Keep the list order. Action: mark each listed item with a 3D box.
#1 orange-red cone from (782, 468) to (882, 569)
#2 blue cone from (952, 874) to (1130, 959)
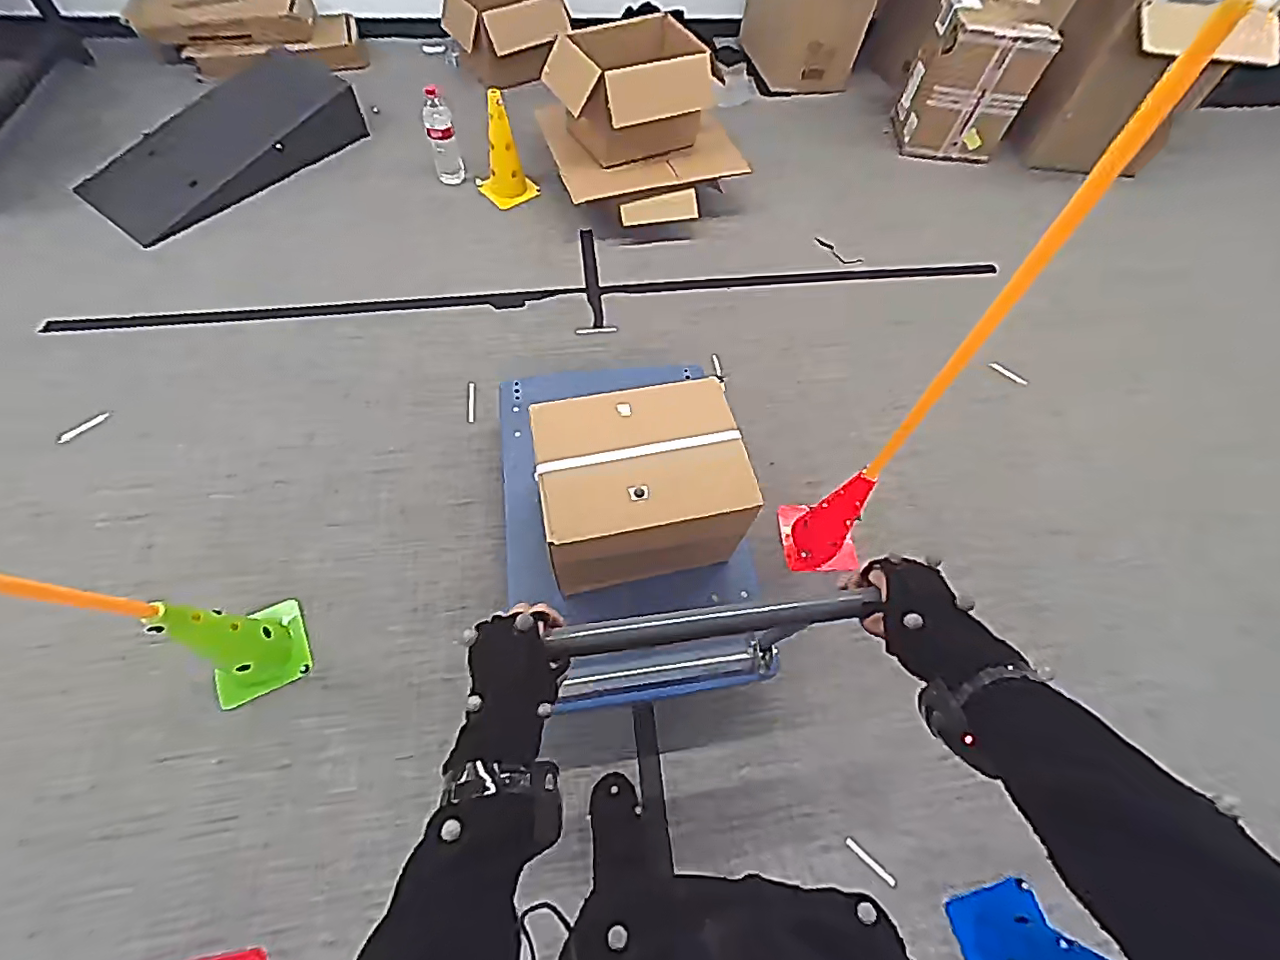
[{"bbox_3d":[0.510,0.070,1.353,0.199,0.360,0.198,1,62,-4],"label":"orange-red cone"},{"bbox_3d":[0.758,0.850,0.952,0.193,0.380,0.192,-9,61,-9],"label":"blue cone"}]
